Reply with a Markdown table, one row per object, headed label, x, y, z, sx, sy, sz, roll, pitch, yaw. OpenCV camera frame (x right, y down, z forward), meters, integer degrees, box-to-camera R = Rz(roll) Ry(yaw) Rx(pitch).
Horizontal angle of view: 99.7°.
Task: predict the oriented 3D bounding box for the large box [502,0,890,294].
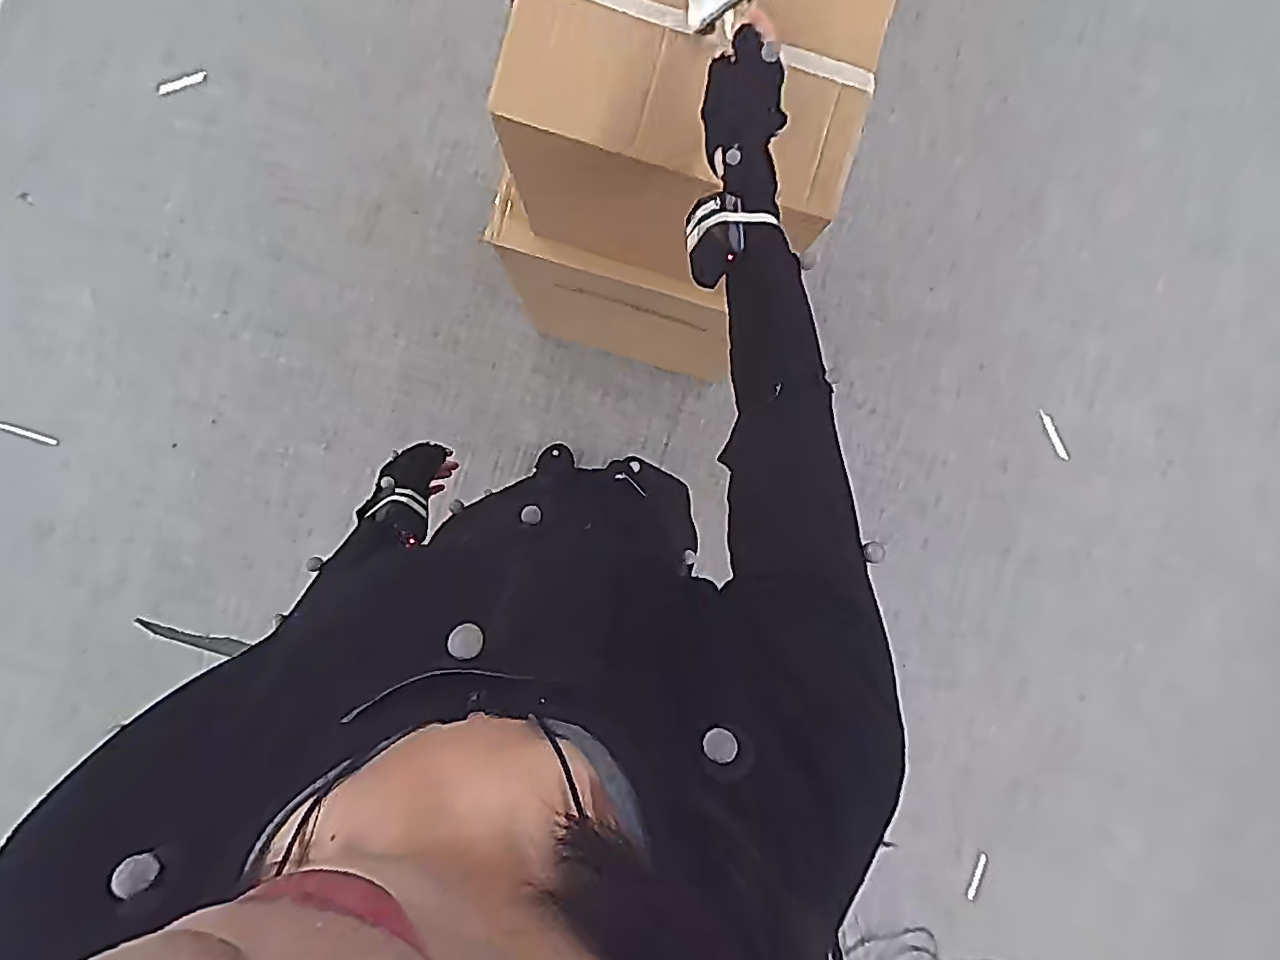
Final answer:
| label | x | y | z | sx | sy | sz | roll | pitch | yaw |
| --- | --- | --- | --- | --- | --- | --- | --- | --- | --- |
| large box | 0.061 | -0.507 | 0.764 | 0.408 | 0.320 | 0.320 | 16 | 91 | -4 |
